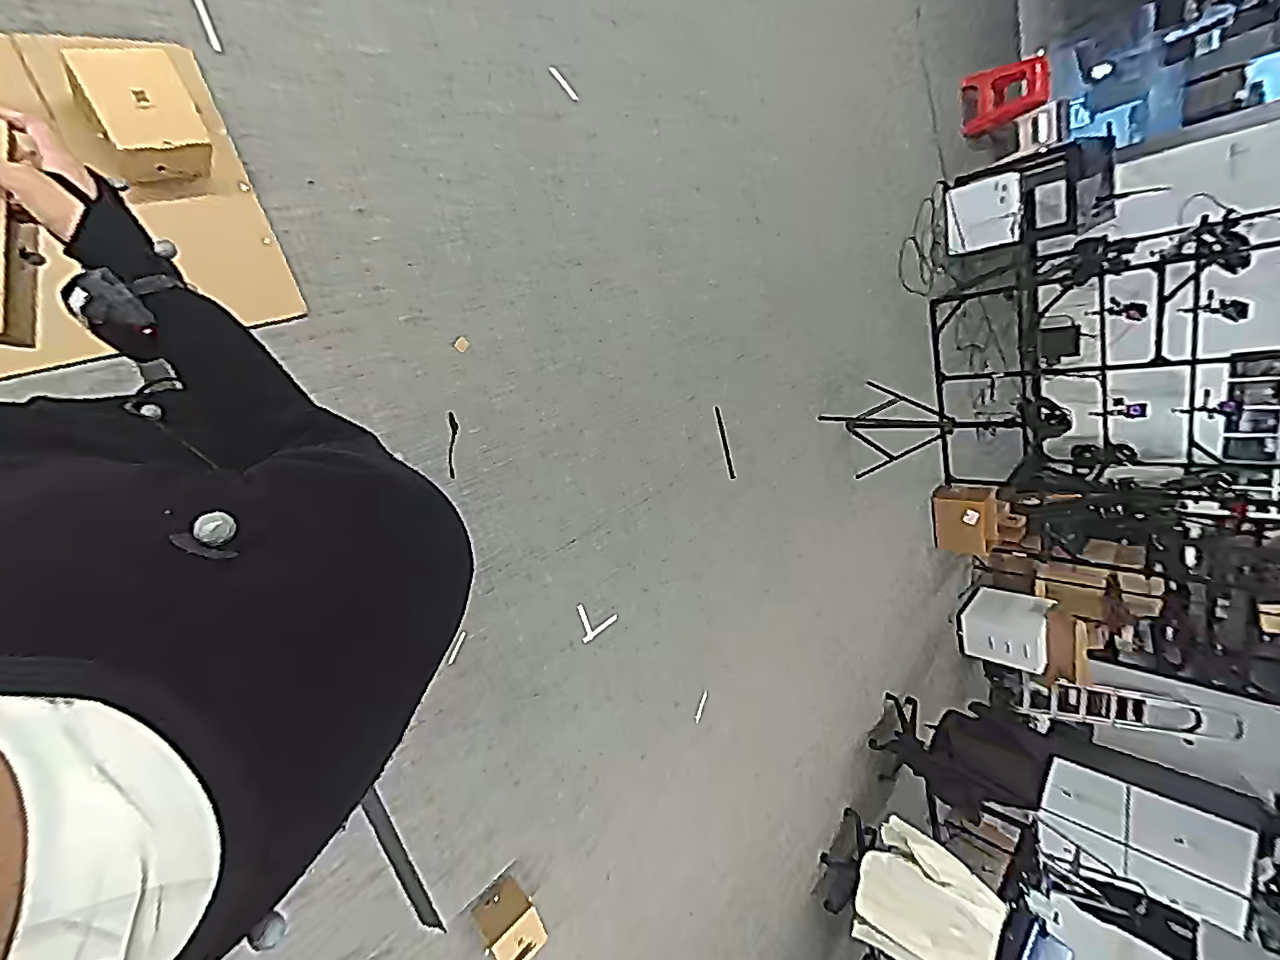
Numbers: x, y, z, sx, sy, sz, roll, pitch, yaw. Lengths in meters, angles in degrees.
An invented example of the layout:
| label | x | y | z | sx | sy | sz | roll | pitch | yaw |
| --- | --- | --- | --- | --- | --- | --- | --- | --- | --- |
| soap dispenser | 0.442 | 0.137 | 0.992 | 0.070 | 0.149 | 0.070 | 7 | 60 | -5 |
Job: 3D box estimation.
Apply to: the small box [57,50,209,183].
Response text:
| label | x | y | z | sx | sy | sz | roll | pitch | yaw |
| --- | --- | --- | --- | --- | --- | --- | --- | --- | --- |
| small box | -1.040 | -0.748 | 1.120 | 0.168 | 0.176 | 0.179 | -34 | 114 | -34 |

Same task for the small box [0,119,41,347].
| label | x | y | z | sx | sy | sz | roll | pitch | yaw |
| --- | --- | --- | --- | --- | --- | --- | --- | --- | --- |
| small box | -0.635 | -0.217 | 0.450 | 0.168 | 0.176 | 0.179 | 2 | 95 | -42 |
